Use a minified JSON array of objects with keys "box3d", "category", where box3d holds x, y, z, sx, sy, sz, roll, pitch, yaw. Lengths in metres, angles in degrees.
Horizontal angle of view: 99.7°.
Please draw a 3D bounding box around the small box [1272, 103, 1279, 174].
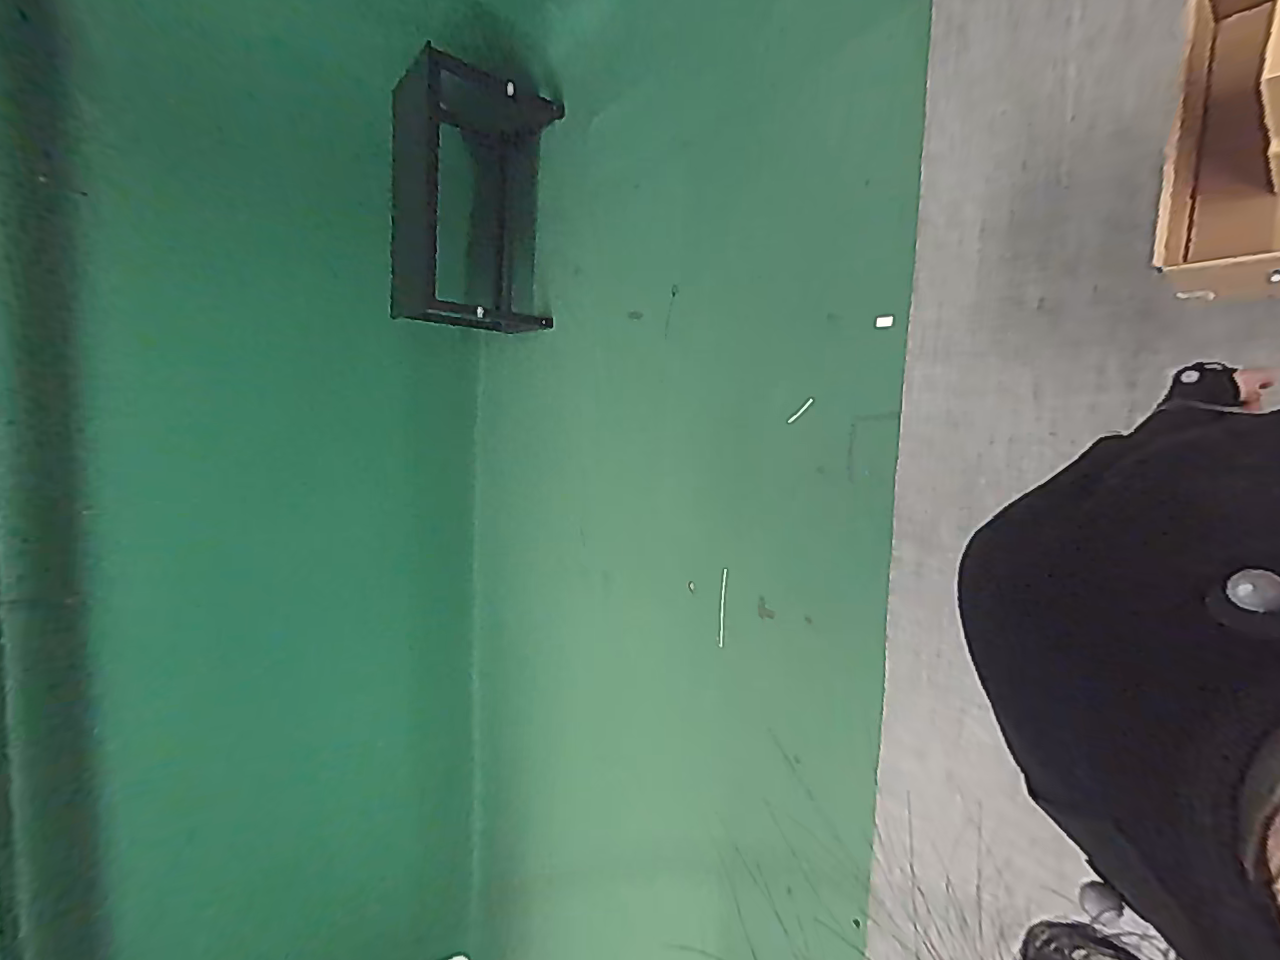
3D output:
[{"box3d":[0.861,-0.462,0.605,0.179,0.176,0.168,11,100,52],"category":"small box"}]
